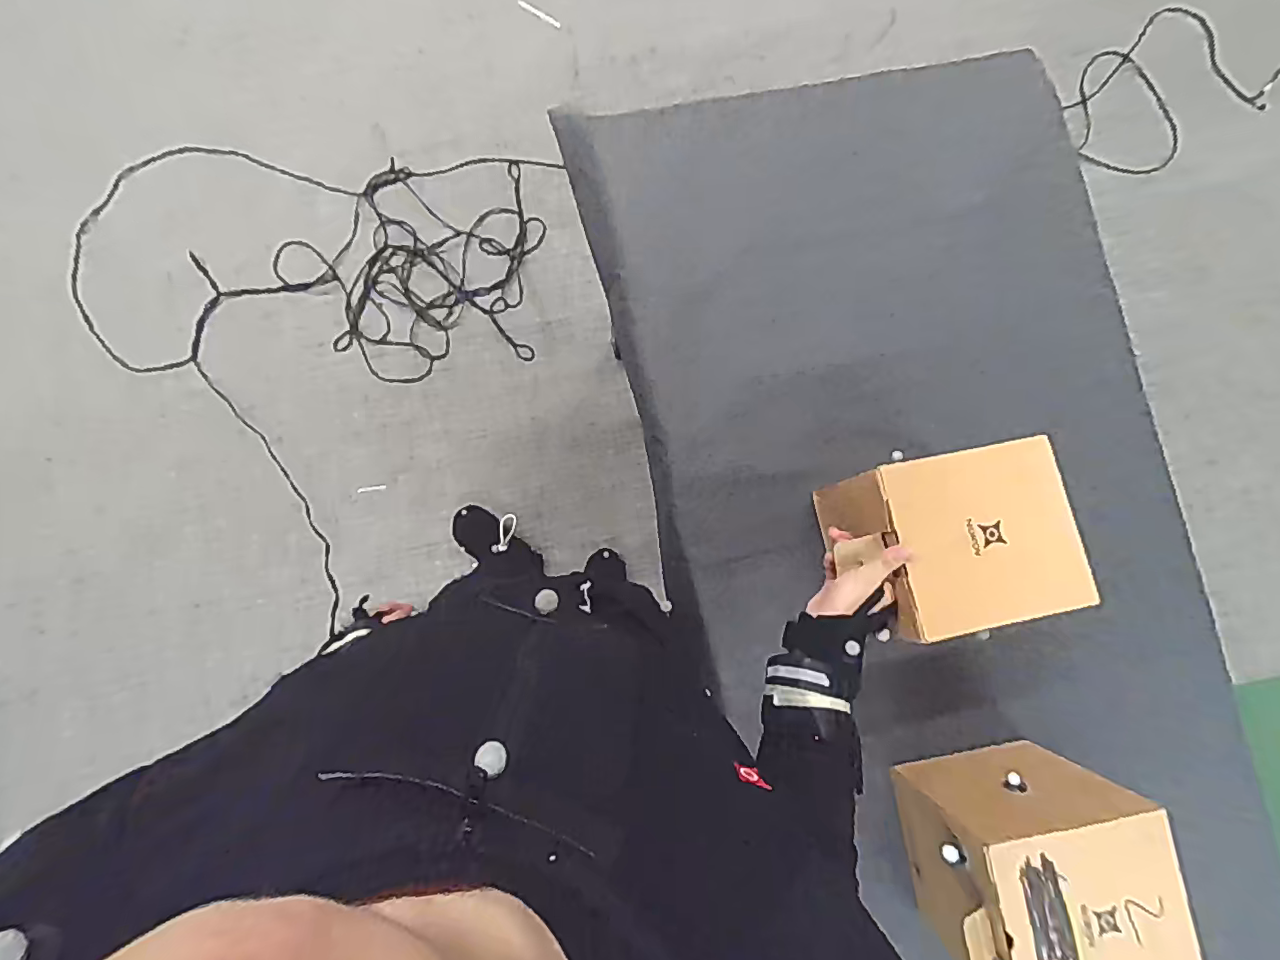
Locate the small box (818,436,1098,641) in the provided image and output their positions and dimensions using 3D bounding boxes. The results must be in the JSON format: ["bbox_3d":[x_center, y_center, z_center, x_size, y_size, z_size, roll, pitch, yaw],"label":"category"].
[{"bbox_3d":[0.320,0.062,0.581,0.179,0.176,0.168,-11,82,-4],"label":"small box"}]
